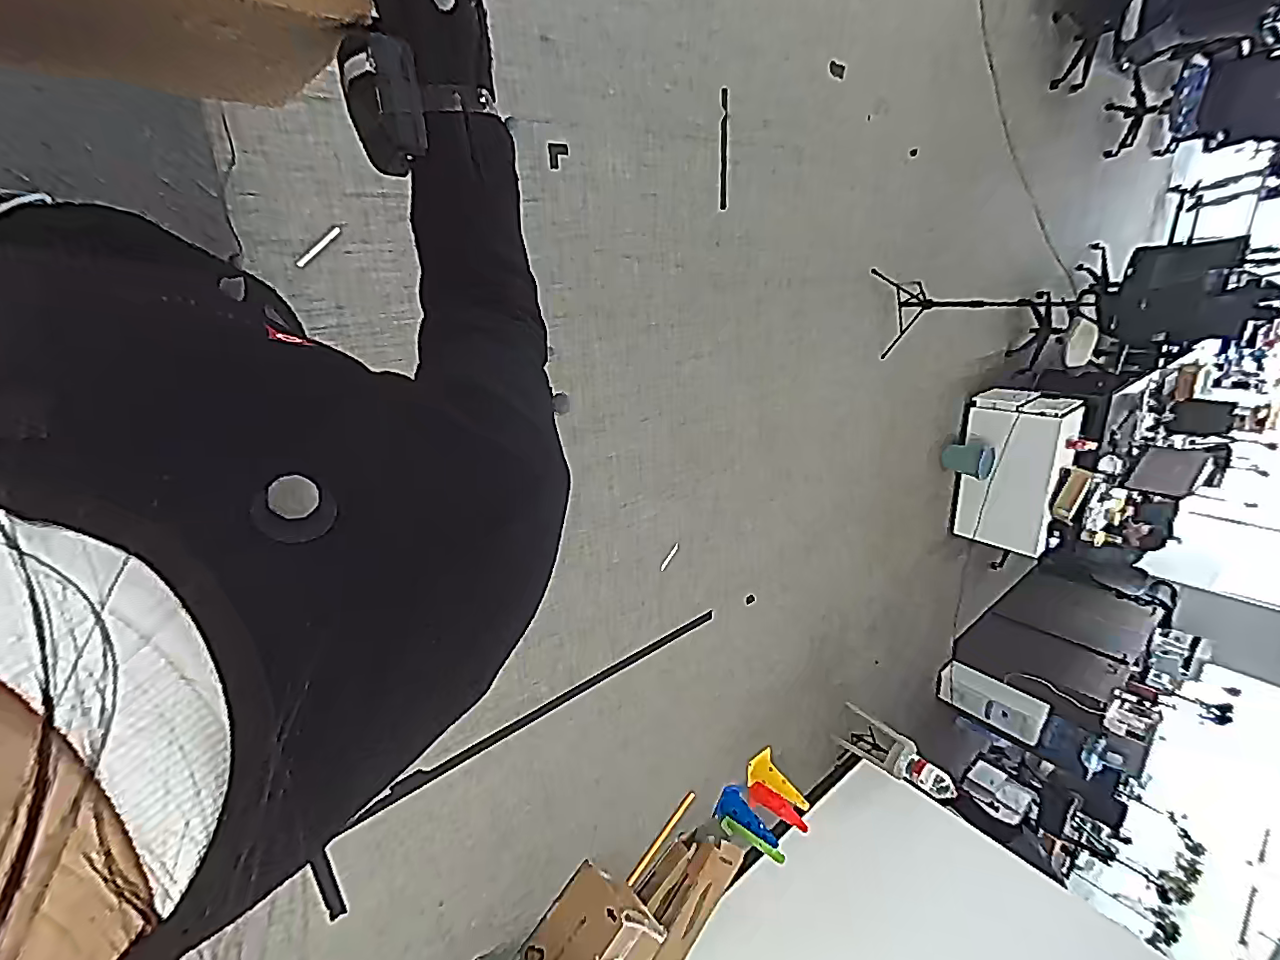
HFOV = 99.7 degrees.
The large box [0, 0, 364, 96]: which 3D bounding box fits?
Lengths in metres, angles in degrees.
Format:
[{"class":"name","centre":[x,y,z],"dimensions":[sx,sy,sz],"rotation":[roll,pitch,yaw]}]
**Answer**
[{"class":"large box","centre":[-0.406,-0.408,0.242],"dimensions":[0.408,0.320,0.320],"rotation":[-18,122,-36]}]
